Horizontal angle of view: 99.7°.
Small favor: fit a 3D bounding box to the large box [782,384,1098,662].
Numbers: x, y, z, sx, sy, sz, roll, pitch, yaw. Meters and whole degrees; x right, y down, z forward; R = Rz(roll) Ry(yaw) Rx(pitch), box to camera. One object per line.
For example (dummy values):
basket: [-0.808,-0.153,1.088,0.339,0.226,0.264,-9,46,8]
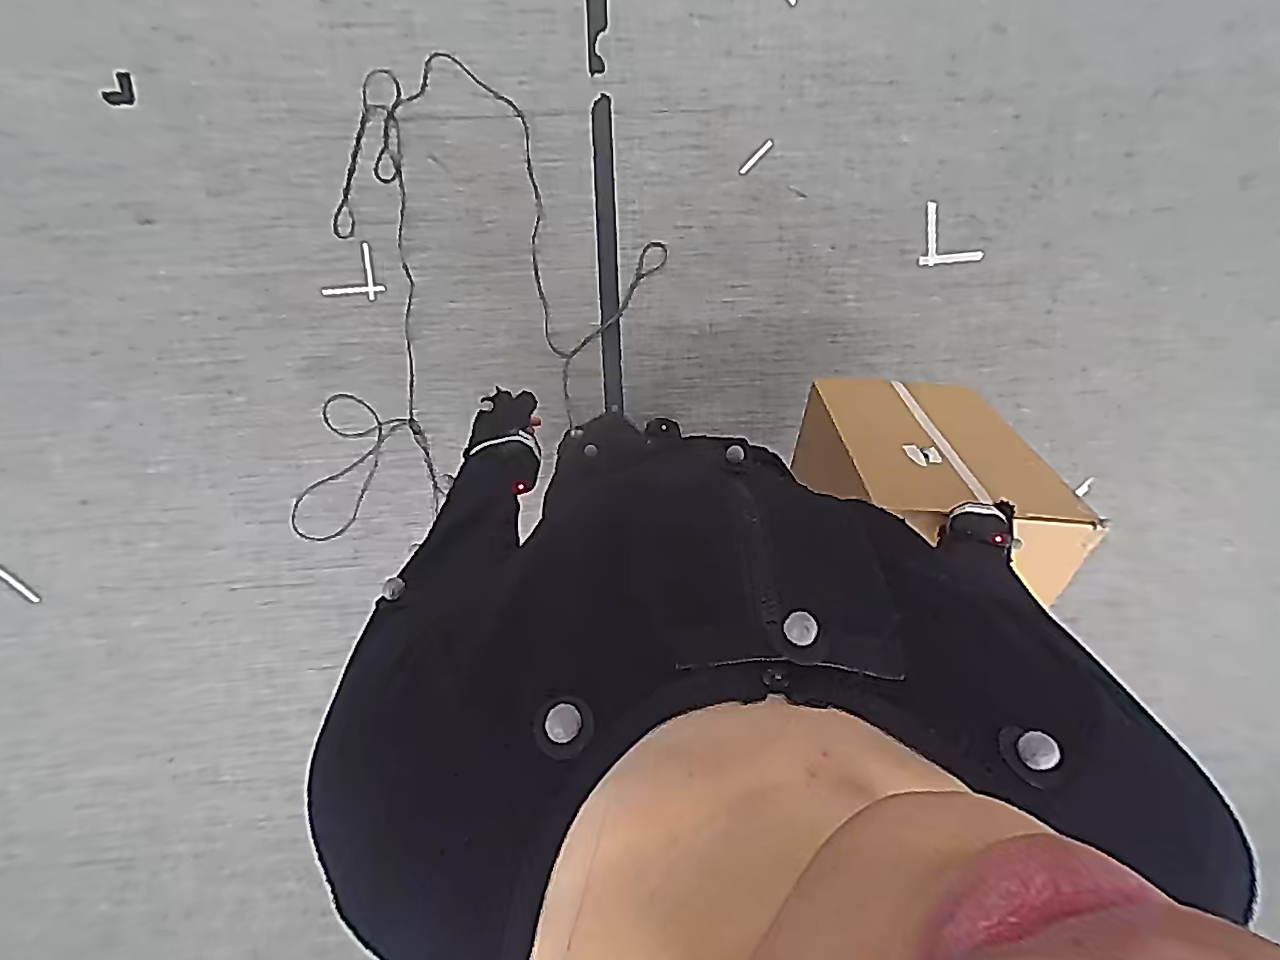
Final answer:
large box: [0.476,0.063,0.987,0.320,0.408,0.320,3,127,0]
